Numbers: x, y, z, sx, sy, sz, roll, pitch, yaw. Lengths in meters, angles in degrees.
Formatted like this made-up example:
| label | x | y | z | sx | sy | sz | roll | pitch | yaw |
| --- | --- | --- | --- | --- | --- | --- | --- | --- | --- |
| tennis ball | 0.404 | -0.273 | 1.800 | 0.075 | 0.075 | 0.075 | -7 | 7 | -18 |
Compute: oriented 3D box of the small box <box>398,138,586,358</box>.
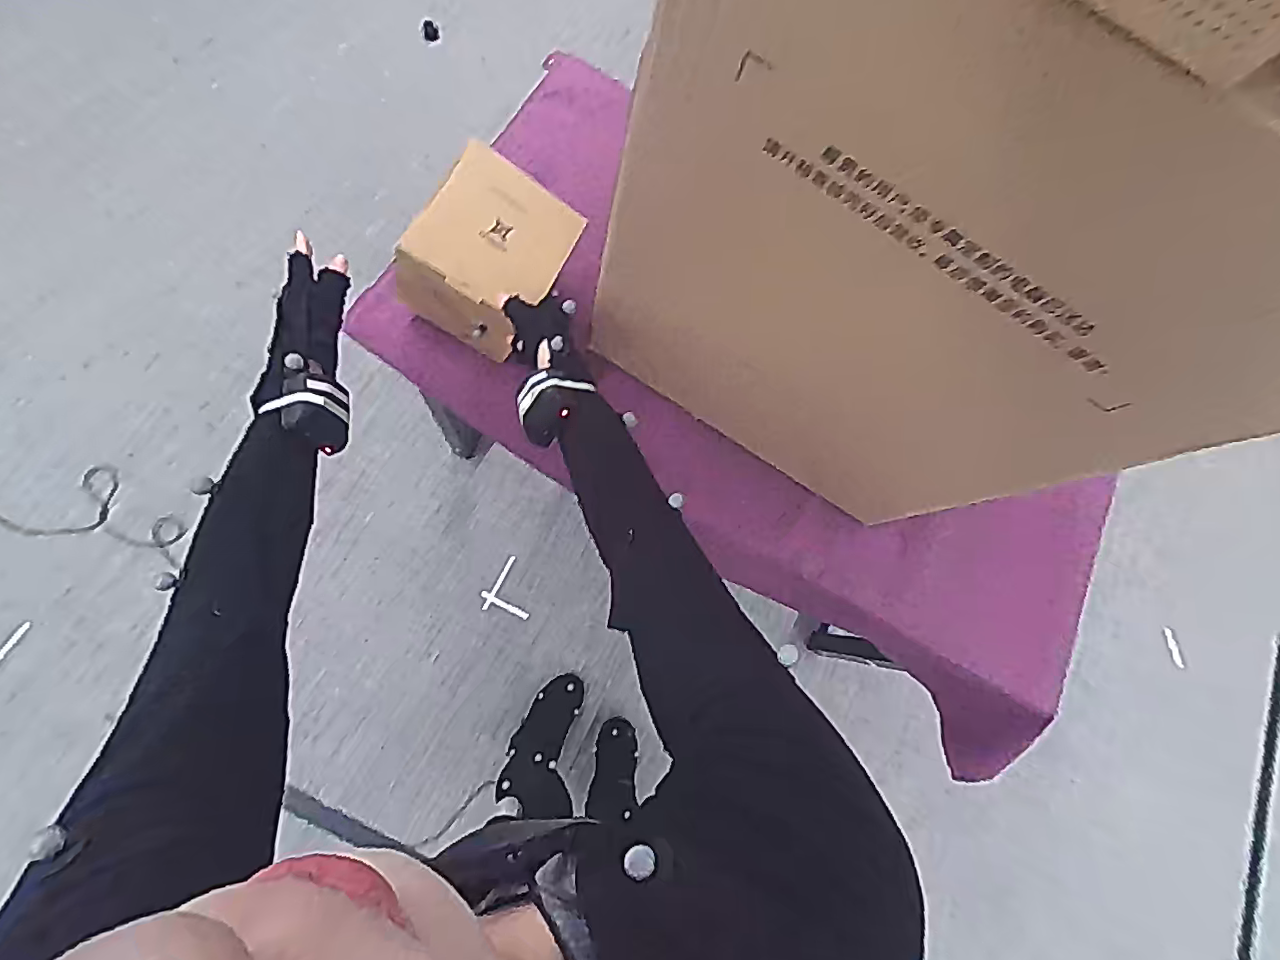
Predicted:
| label | x | y | z | sx | sy | sz | roll | pitch | yaw |
| --- | --- | --- | --- | --- | --- | --- | --- | --- | --- |
| small box | -0.201 | -0.289 | 0.719 | 0.168 | 0.176 | 0.179 | 30 | 74 | -21 |
